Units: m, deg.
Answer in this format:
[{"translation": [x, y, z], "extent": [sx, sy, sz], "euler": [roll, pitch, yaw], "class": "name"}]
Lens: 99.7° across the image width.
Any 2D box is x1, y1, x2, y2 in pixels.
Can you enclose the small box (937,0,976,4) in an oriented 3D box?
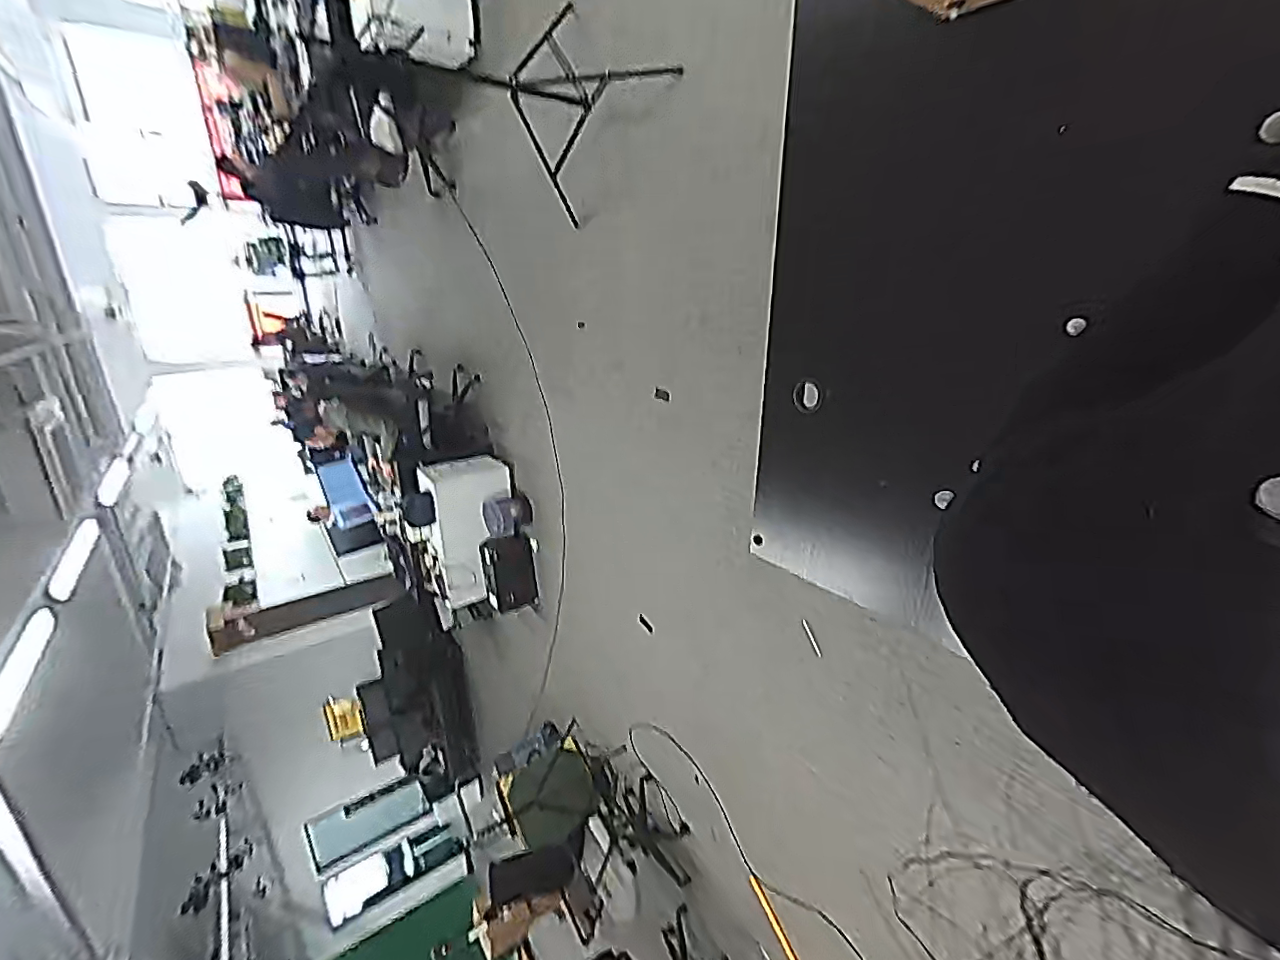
[{"translation": [0.375, -0.629, 0.551], "extent": [0.168, 0.176, 0.179], "euler": [28, 123, 48], "class": "small box"}]
